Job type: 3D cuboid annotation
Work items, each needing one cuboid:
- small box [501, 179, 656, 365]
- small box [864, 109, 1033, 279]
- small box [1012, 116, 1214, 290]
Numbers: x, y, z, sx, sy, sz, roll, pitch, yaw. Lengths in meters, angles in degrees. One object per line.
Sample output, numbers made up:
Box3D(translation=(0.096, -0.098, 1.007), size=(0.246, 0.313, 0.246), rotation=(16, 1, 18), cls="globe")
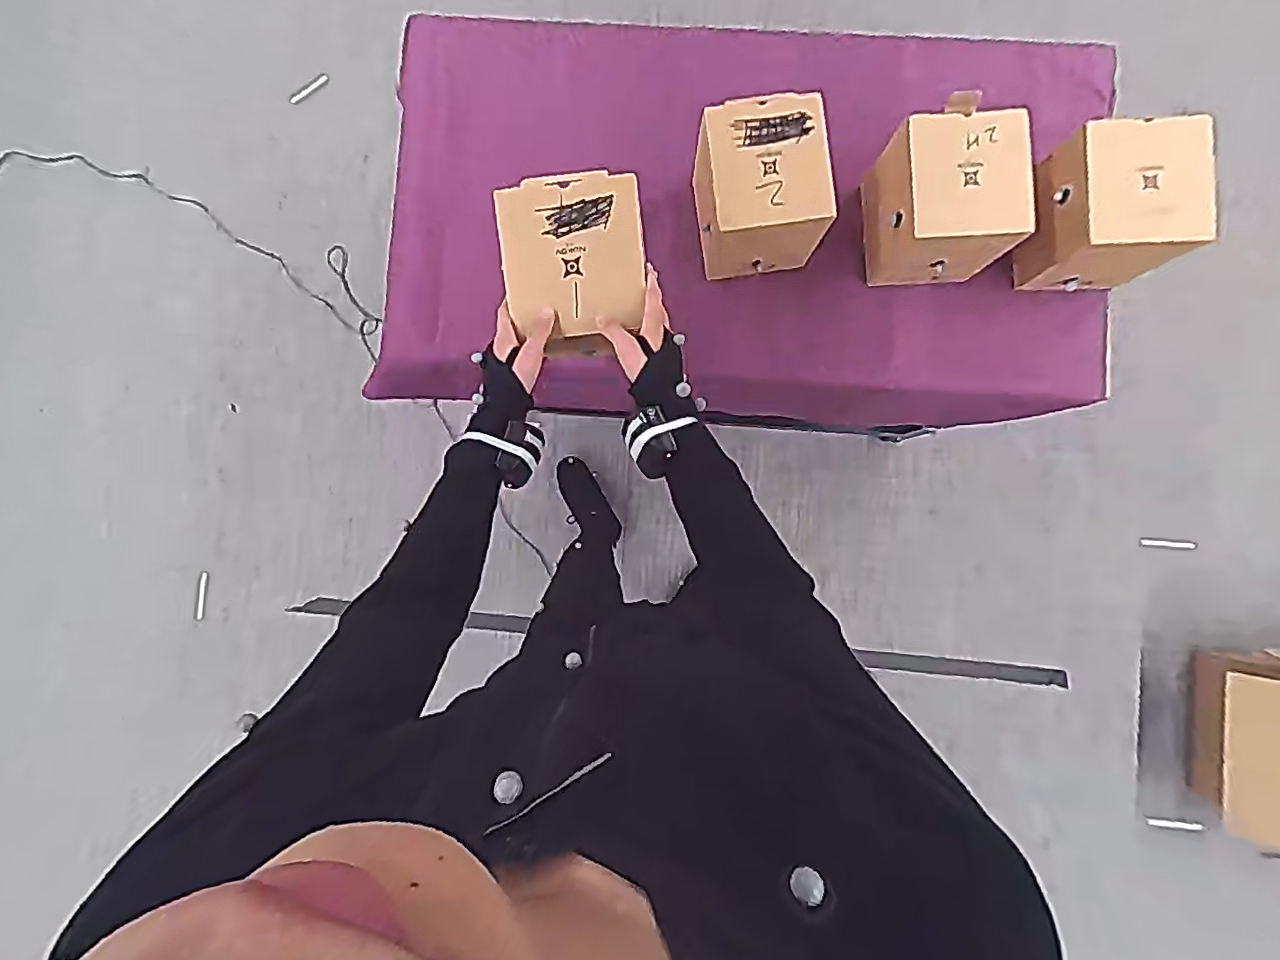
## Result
Box3D(translation=(-0.069, -0.255, 0.701), size=(0.168, 0.176, 0.179), rotation=(-6, 95, 3), cls="small box")
Box3D(translation=(0.455, -0.418, 0.821), size=(0.168, 0.176, 0.179), rotation=(-2, 87, 1), cls="small box")
Box3D(translation=(0.694, -0.406, 0.815), size=(0.168, 0.176, 0.179), rotation=(0, 87, 3), cls="small box")
